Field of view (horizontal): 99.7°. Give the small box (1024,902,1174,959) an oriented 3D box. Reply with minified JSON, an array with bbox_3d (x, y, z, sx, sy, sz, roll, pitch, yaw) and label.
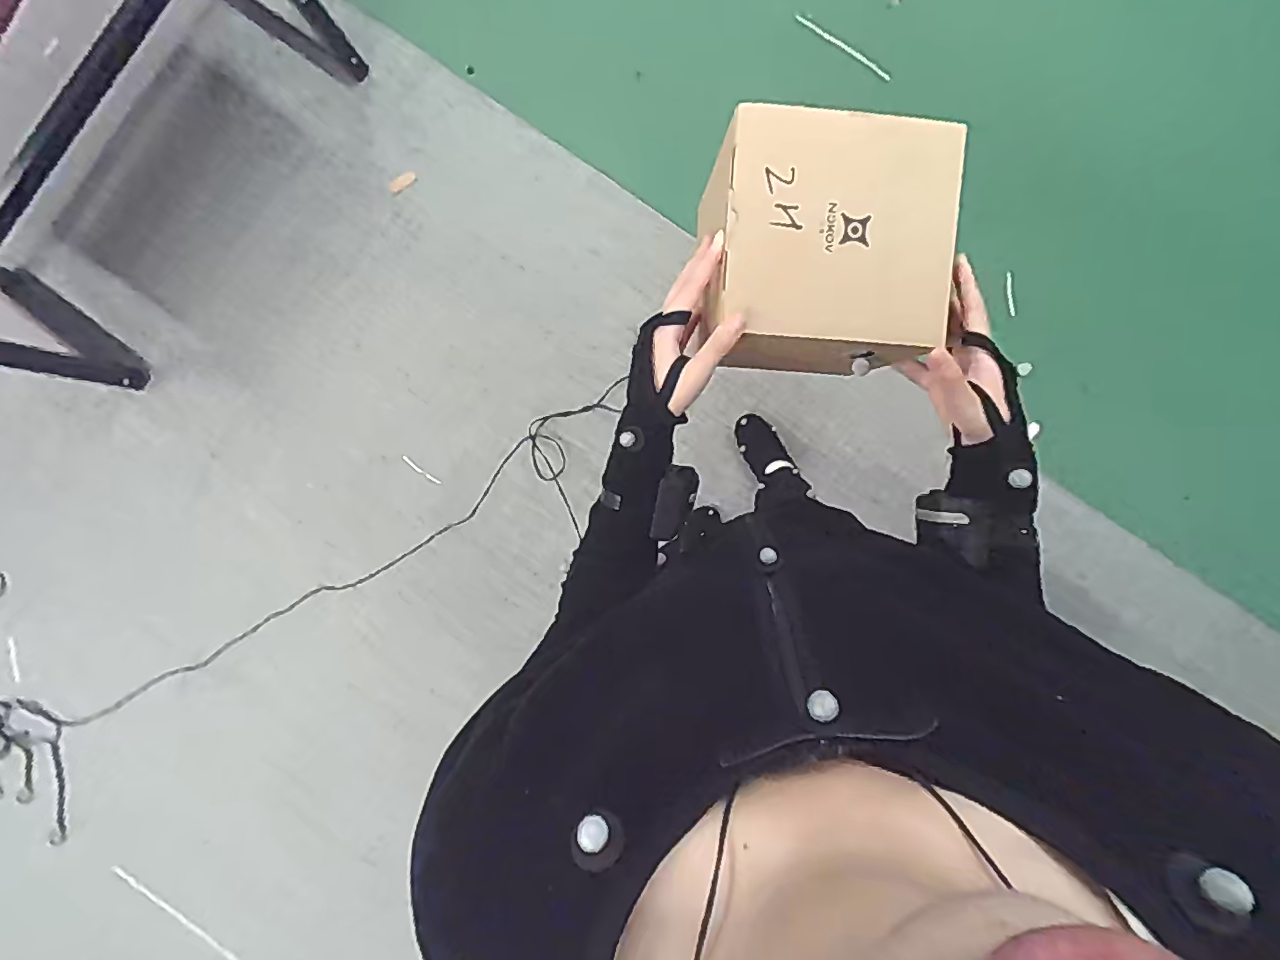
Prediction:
[{"bbox_3d":[0.609,0.673,0.658,0.179,0.176,0.168,32,92,6],"label":"small box"}]

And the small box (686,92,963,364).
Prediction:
[{"bbox_3d":[0.143,-0.199,0.479,0.179,0.176,0.168,3,94,-3],"label":"small box"}]

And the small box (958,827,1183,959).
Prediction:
[{"bbox_3d":[0.630,0.674,0.820,0.179,0.176,0.168,29,91,6],"label":"small box"}]
